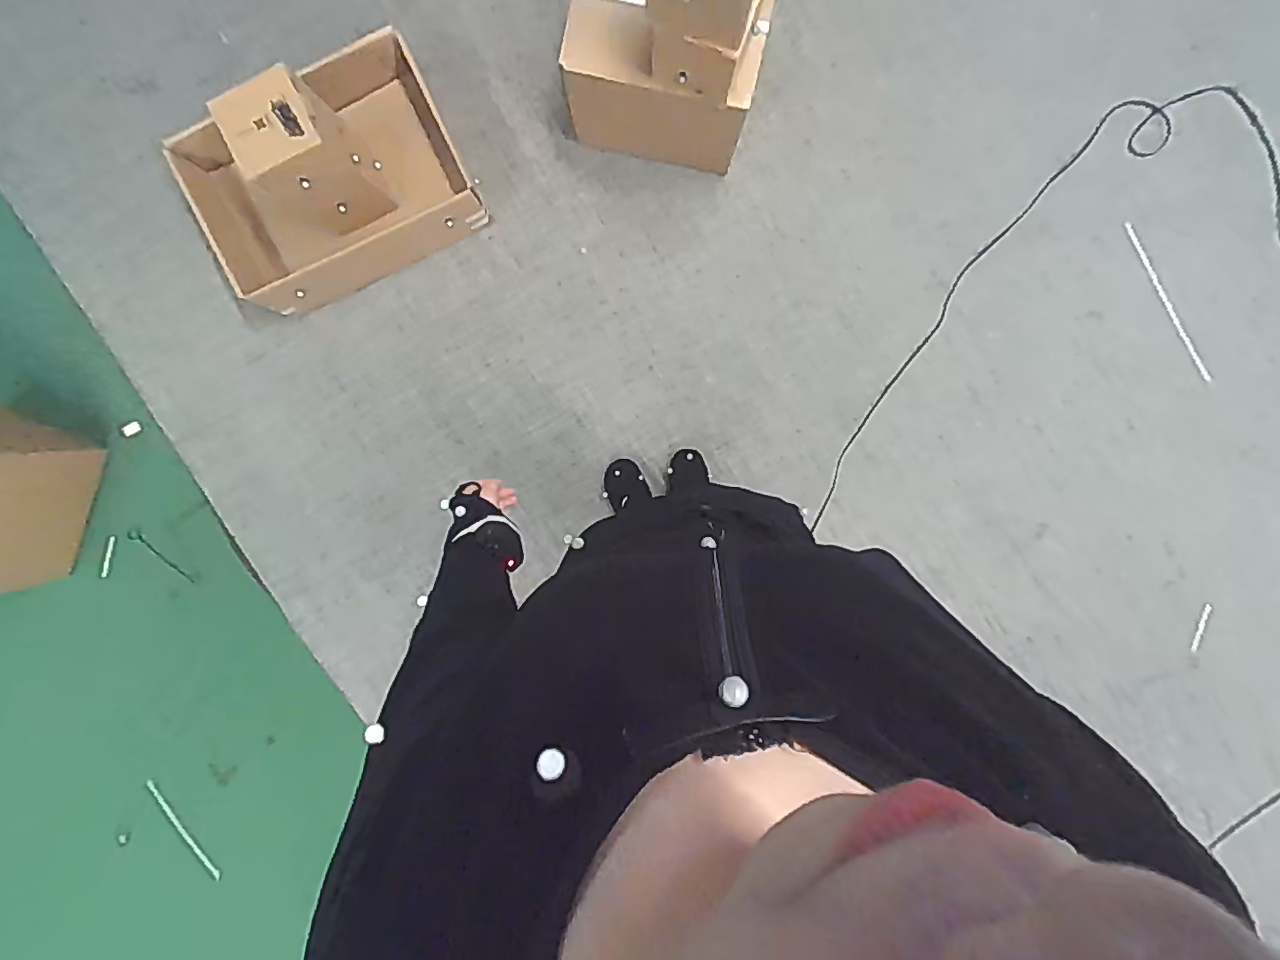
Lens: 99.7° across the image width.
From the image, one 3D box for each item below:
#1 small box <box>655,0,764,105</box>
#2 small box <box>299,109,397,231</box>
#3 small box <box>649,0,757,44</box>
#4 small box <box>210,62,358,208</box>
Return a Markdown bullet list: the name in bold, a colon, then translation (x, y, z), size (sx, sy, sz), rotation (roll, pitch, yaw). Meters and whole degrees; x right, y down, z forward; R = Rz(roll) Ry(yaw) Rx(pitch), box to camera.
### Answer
- **small box**: translation (0.130, -0.864, 1.018), size (0.168, 0.176, 0.179), rotation (21, 99, -2)
- **small box**: translation (-0.727, -0.731, 1.299), size (0.179, 0.176, 0.168), rotation (-25, 96, 3)
- **small box**: translation (0.115, -0.844, 0.855), size (0.179, 0.176, 0.168), rotation (17, 99, -1)
- **small box**: translation (-0.729, -0.711, 1.136), size (0.179, 0.176, 0.168), rotation (-24, 95, 5)
